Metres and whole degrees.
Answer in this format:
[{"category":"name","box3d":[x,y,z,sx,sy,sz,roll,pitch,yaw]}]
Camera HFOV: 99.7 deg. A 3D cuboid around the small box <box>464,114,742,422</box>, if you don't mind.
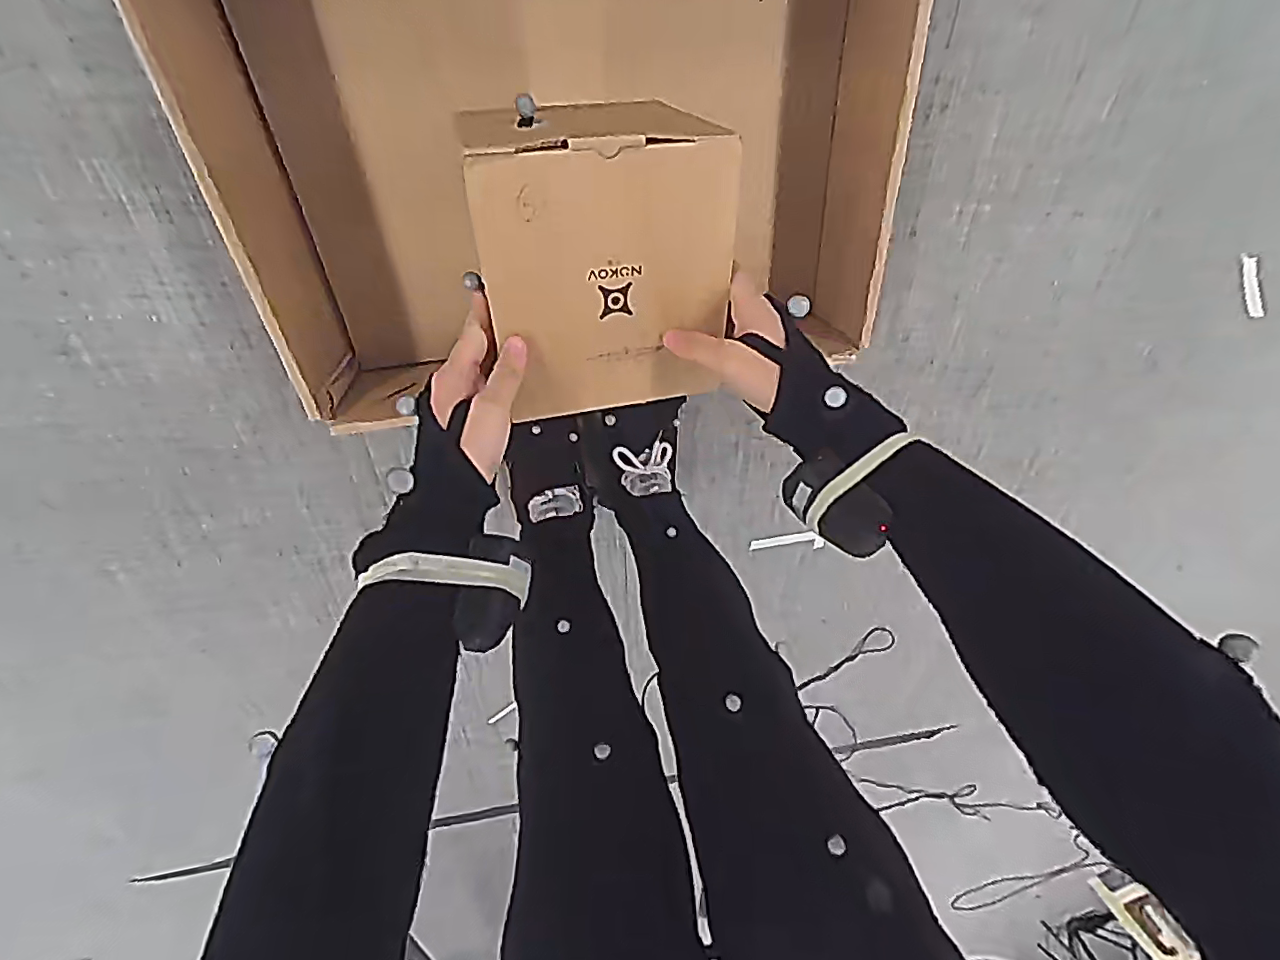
[{"category":"small box","box3d":[-0.036,-0.174,0.424,0.168,0.176,0.179,-11,133,-11]}]
